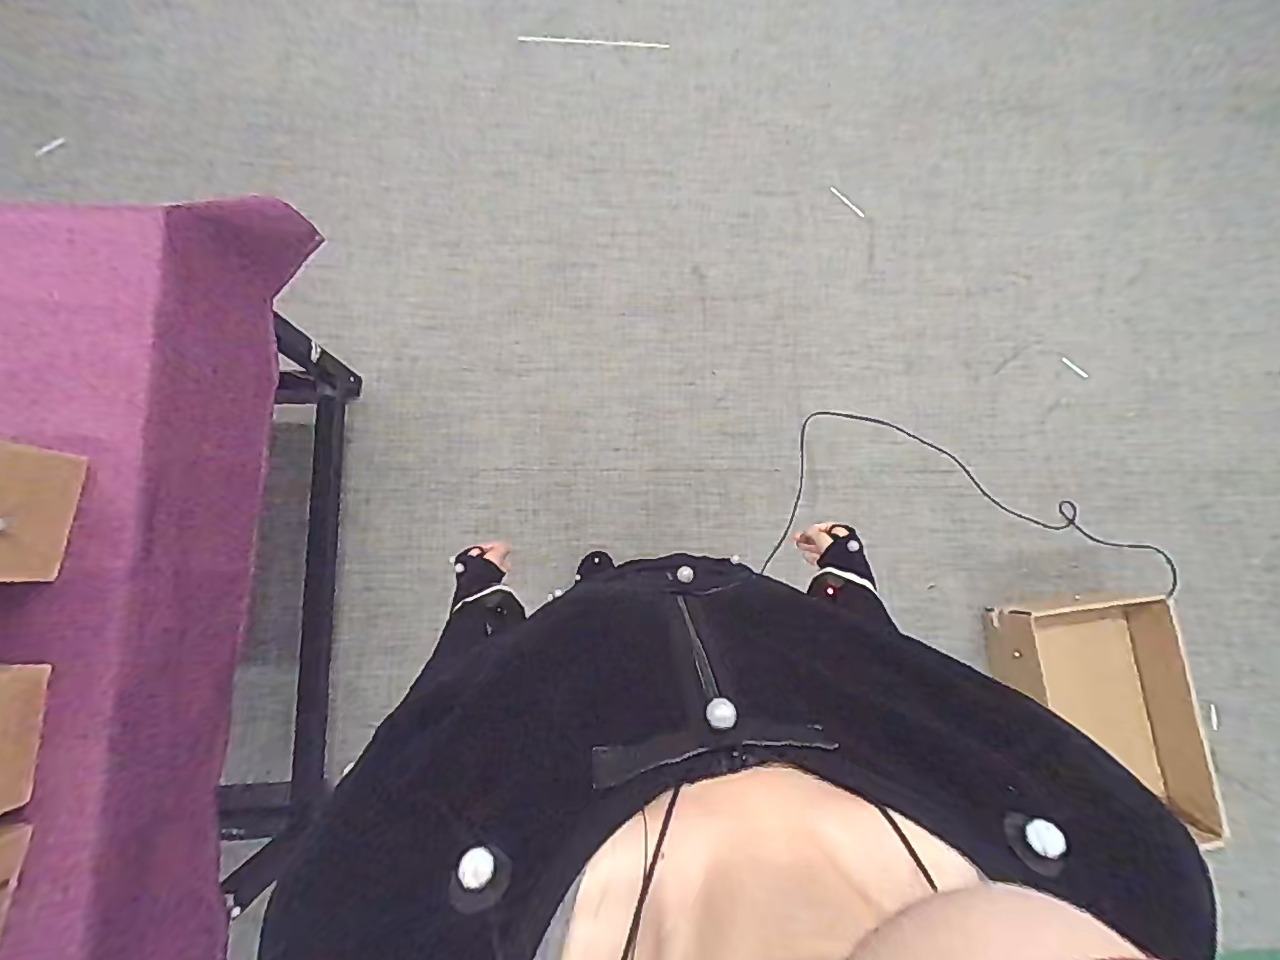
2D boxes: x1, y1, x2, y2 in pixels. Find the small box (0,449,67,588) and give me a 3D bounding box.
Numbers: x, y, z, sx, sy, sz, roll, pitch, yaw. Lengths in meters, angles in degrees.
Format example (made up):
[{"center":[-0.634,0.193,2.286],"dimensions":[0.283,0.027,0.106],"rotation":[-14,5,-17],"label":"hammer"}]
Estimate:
[{"center":[-0.868,0.038,0.652],"dimensions":[0.168,0.176,0.179],"rotation":[7,81,-4],"label":"small box"}]
